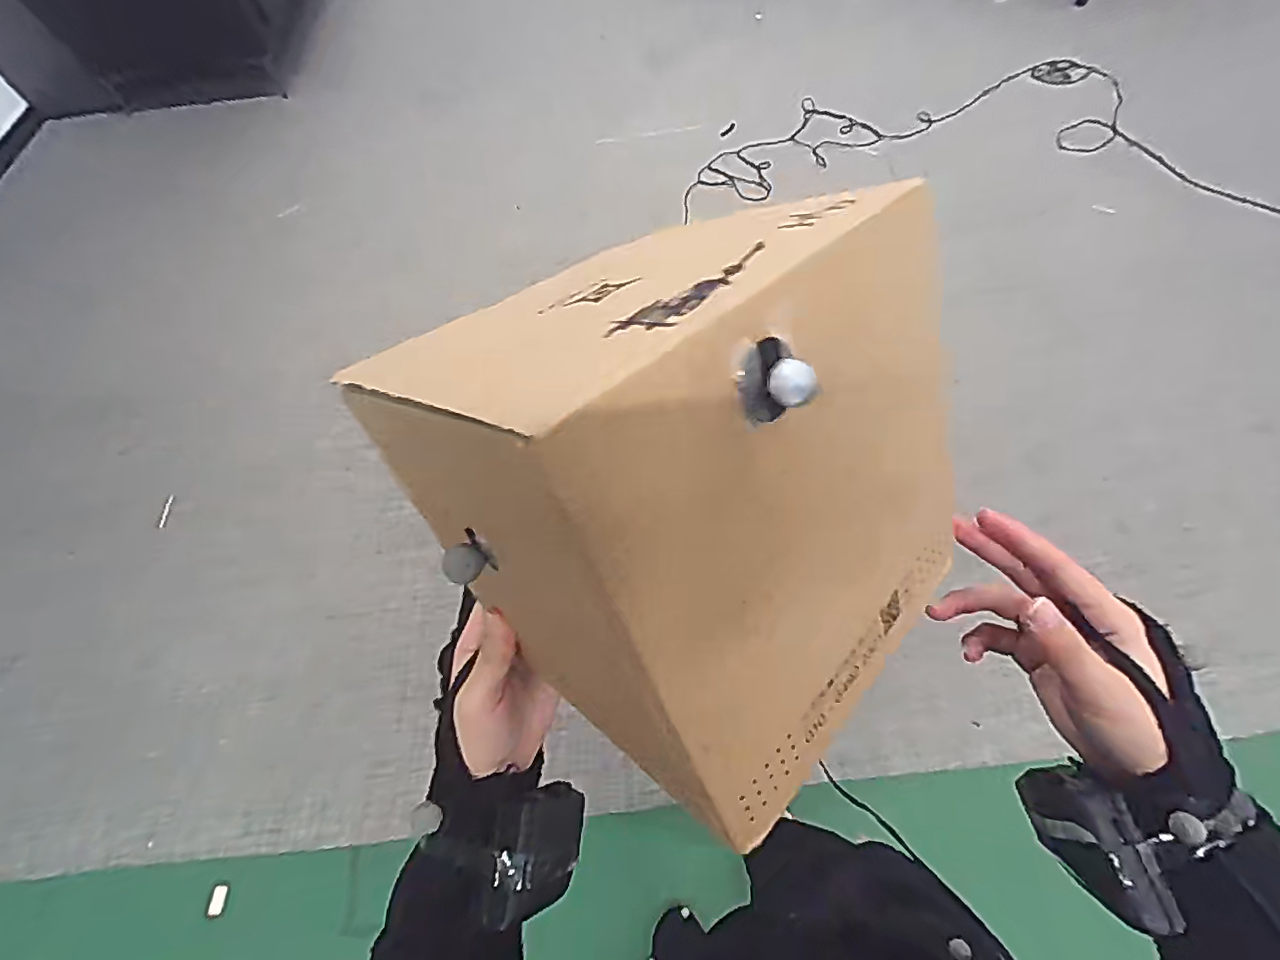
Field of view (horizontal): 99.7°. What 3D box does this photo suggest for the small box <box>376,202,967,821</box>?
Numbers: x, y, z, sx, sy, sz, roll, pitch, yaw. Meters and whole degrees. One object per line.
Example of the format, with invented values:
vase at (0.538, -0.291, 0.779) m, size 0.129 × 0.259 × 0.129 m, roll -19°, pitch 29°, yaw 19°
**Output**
small box at (0.021, 0.004, 0.246) m, size 0.168 × 0.176 × 0.179 m, roll -39°, pitch 33°, yaw -27°
